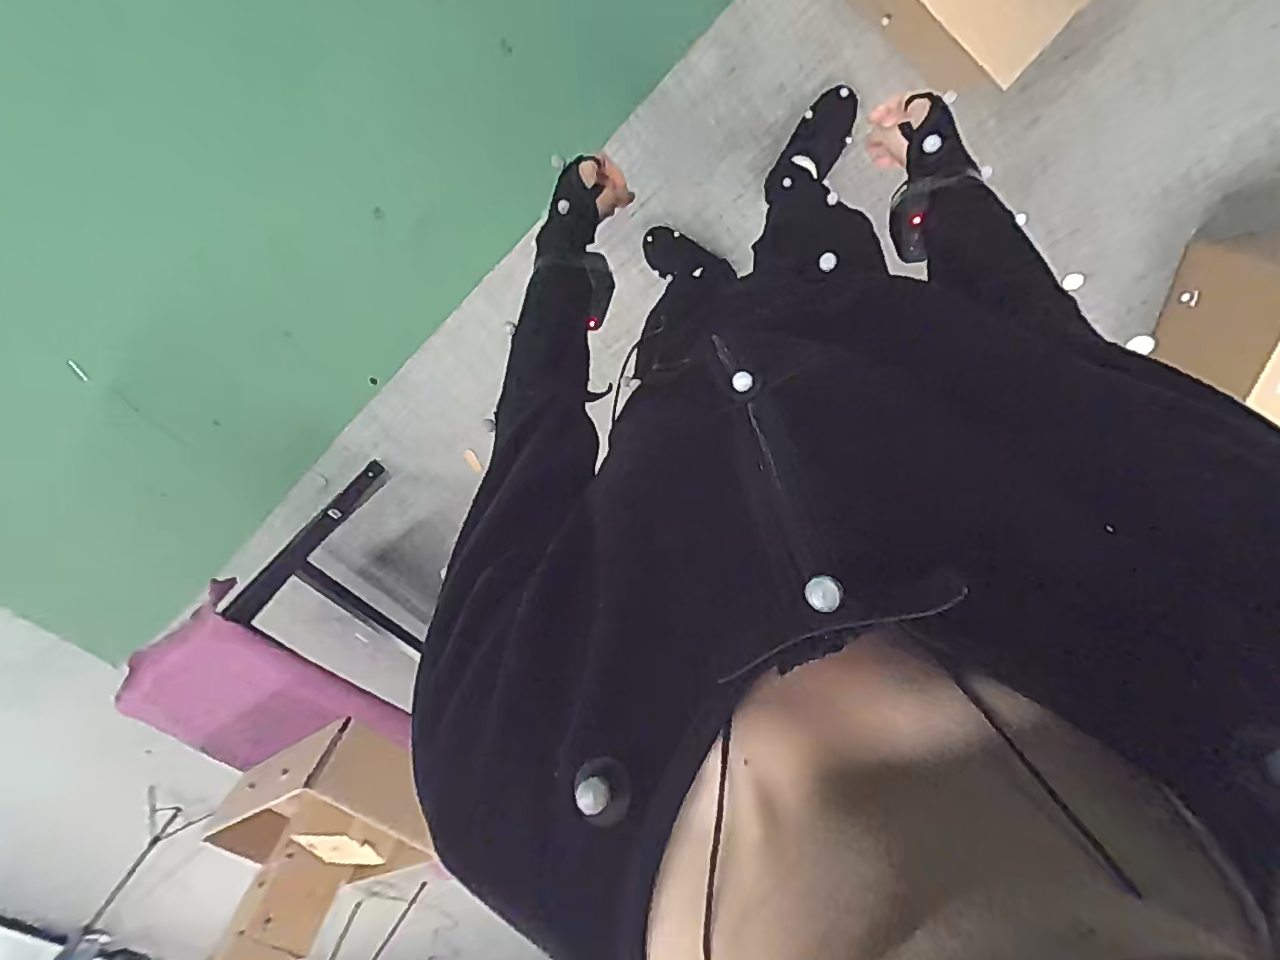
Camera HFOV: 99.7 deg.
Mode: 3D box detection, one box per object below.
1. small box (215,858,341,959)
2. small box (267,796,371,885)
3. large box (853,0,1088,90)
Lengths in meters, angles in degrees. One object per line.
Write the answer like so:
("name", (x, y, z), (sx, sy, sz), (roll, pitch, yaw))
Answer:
("small box", (-0.909, 1.100, 1.376), (0.168, 0.176, 0.179), (-35, 113, 25))
("small box", (-0.891, 1.016, 1.513), (0.179, 0.176, 0.168), (-33, 114, 24))
("large box", (0.527, -0.902, 0.853), (0.408, 0.320, 0.320), (33, 122, -13))
